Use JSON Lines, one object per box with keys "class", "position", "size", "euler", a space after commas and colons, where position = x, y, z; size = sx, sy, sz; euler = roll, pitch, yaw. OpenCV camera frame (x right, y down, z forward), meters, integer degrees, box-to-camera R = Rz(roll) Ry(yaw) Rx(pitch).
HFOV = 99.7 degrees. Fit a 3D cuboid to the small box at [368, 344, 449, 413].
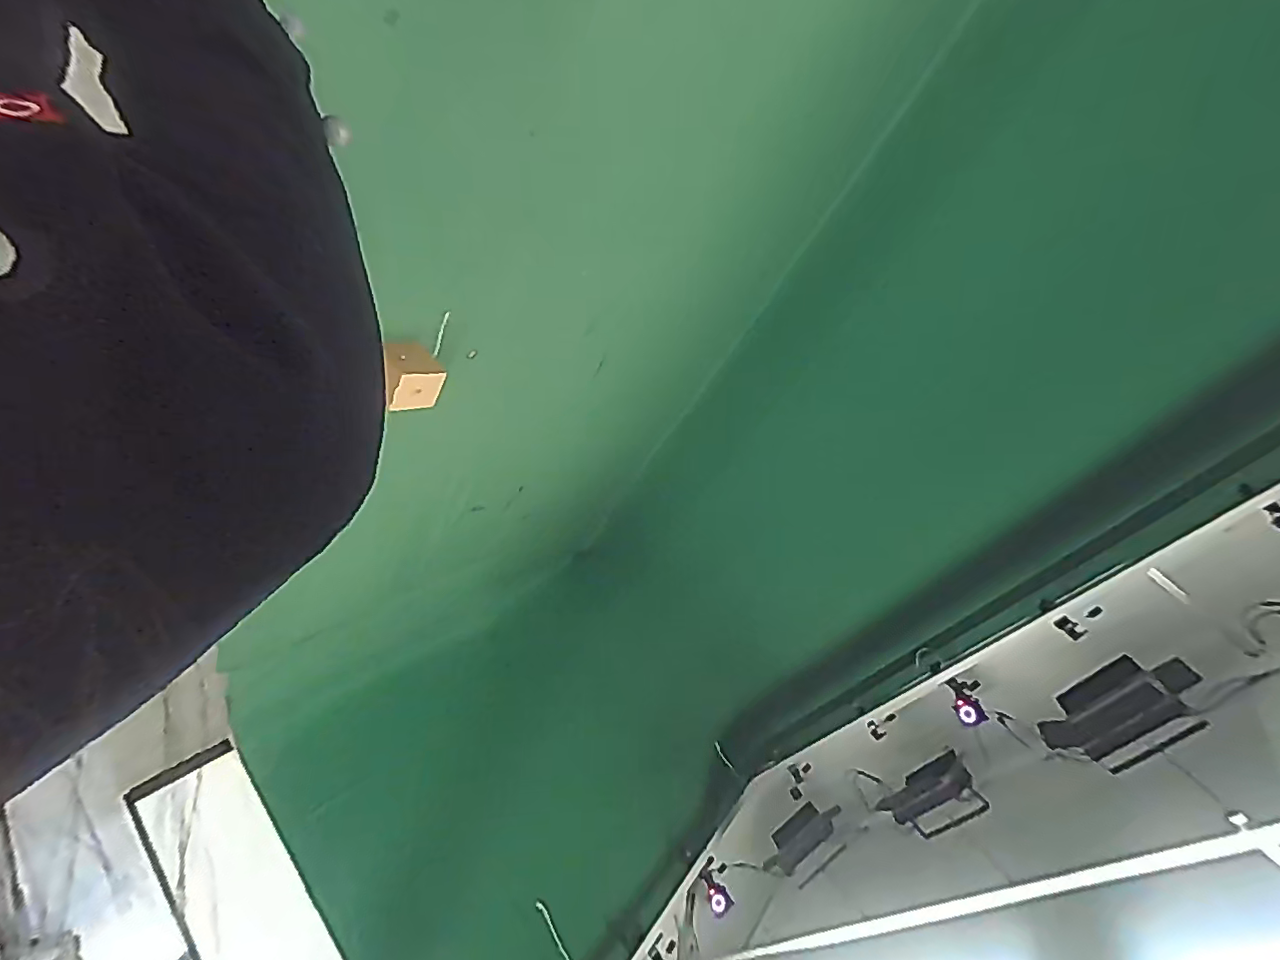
{"class": "small box", "position": [-0.807, -0.355, 1.876], "size": [0.168, 0.176, 0.179], "euler": [-49, 163, 31]}
